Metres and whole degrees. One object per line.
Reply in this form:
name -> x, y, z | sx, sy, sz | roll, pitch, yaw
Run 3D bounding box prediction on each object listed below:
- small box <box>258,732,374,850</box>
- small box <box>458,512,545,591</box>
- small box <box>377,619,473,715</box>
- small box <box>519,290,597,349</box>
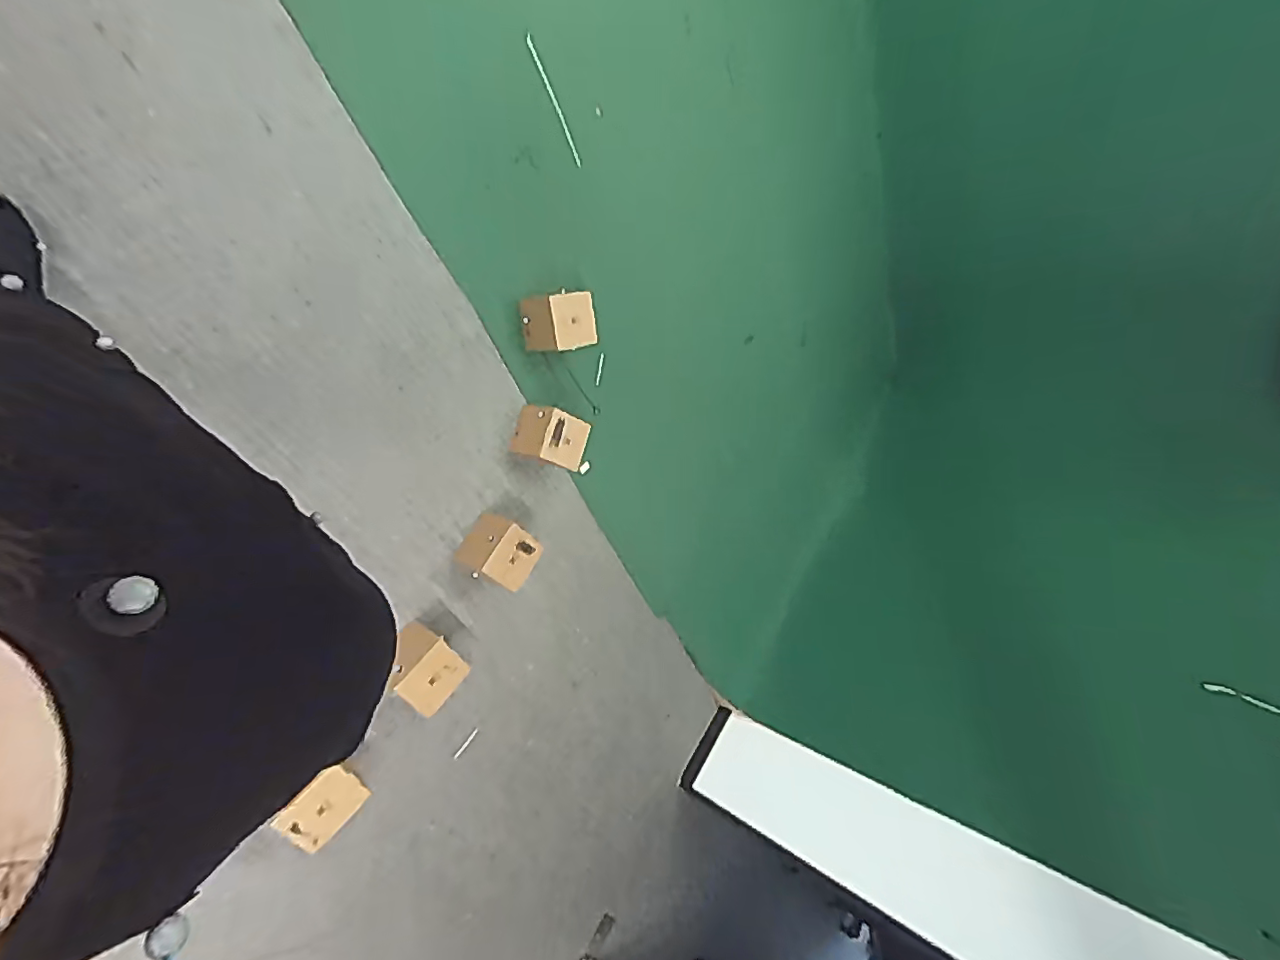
small box -> -0.843, 0.799, 1.407 | 0.179, 0.176, 0.168 | -45, 128, -33
small box -> -0.444, 0.221, 1.723 | 0.179, 0.176, 0.168 | -59, 135, -20
small box -> -0.635, 0.540, 1.580 | 0.179, 0.176, 0.168 | -49, 132, -29
small box -> -0.265, -0.524, 1.759 | 0.179, 0.176, 0.168 | -25, 116, -42
